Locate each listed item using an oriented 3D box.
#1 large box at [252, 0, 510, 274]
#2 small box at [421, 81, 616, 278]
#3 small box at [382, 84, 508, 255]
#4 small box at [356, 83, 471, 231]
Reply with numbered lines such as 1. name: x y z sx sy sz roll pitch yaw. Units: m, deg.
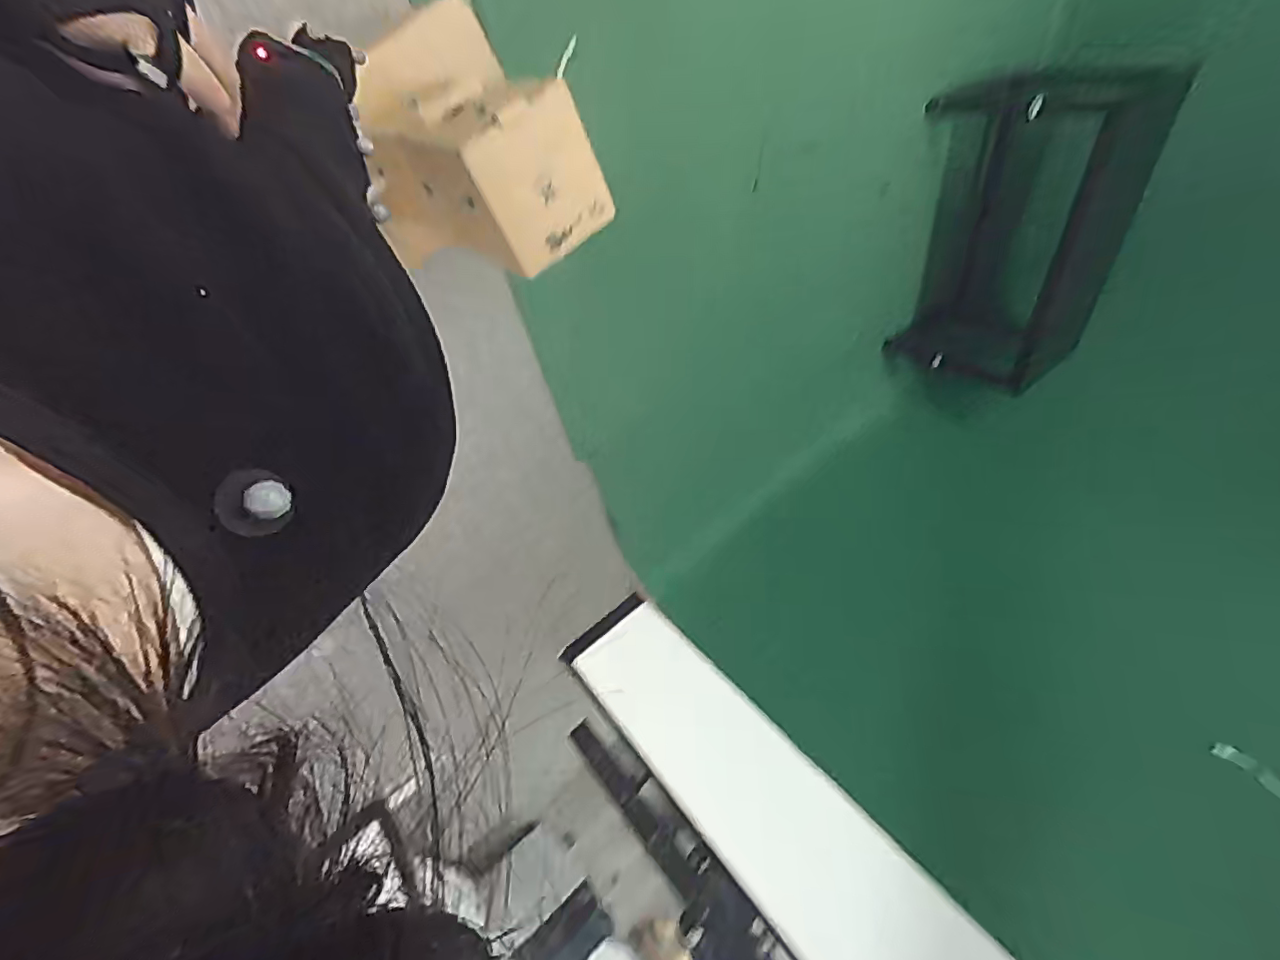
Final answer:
1. large box: -0.493 -0.706 1.122 0.408 0.320 0.320 -45 140 -10
2. small box: -0.169 -0.413 0.749 0.168 0.176 0.179 -41 136 -12
3. small box: -0.272 -0.488 0.854 0.168 0.176 0.179 -41 137 -14
4. small box: -0.364 -0.573 0.959 0.179 0.176 0.168 -41 137 -12
